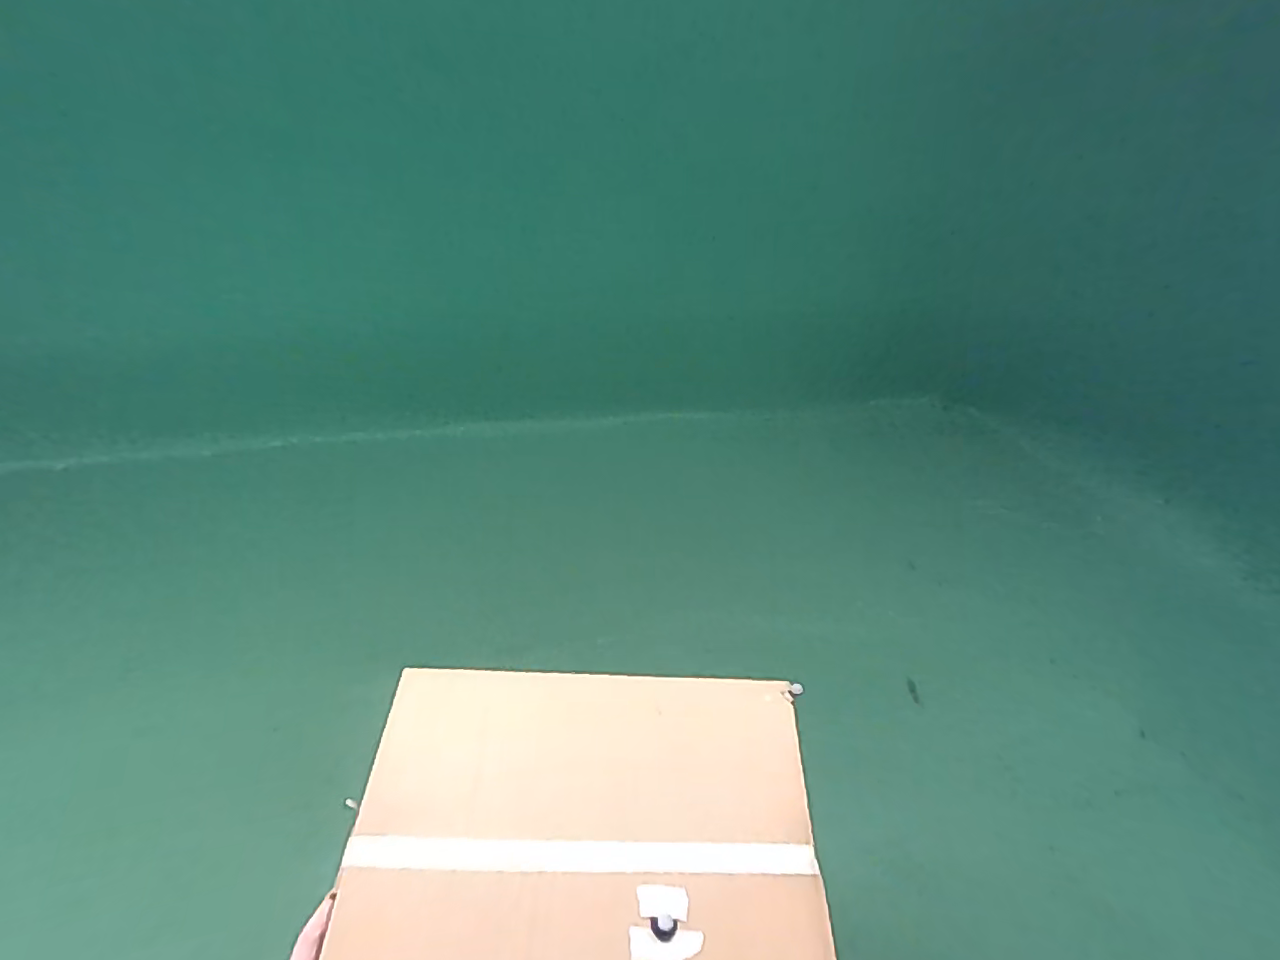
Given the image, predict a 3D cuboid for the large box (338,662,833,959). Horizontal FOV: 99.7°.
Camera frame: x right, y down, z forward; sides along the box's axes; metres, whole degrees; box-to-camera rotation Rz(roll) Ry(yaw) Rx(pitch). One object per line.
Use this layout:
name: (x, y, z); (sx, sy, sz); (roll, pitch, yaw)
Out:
large box: (-0.048, 0.414, 0.598); (0.408, 0.320, 0.320); (3, 52, -1)
